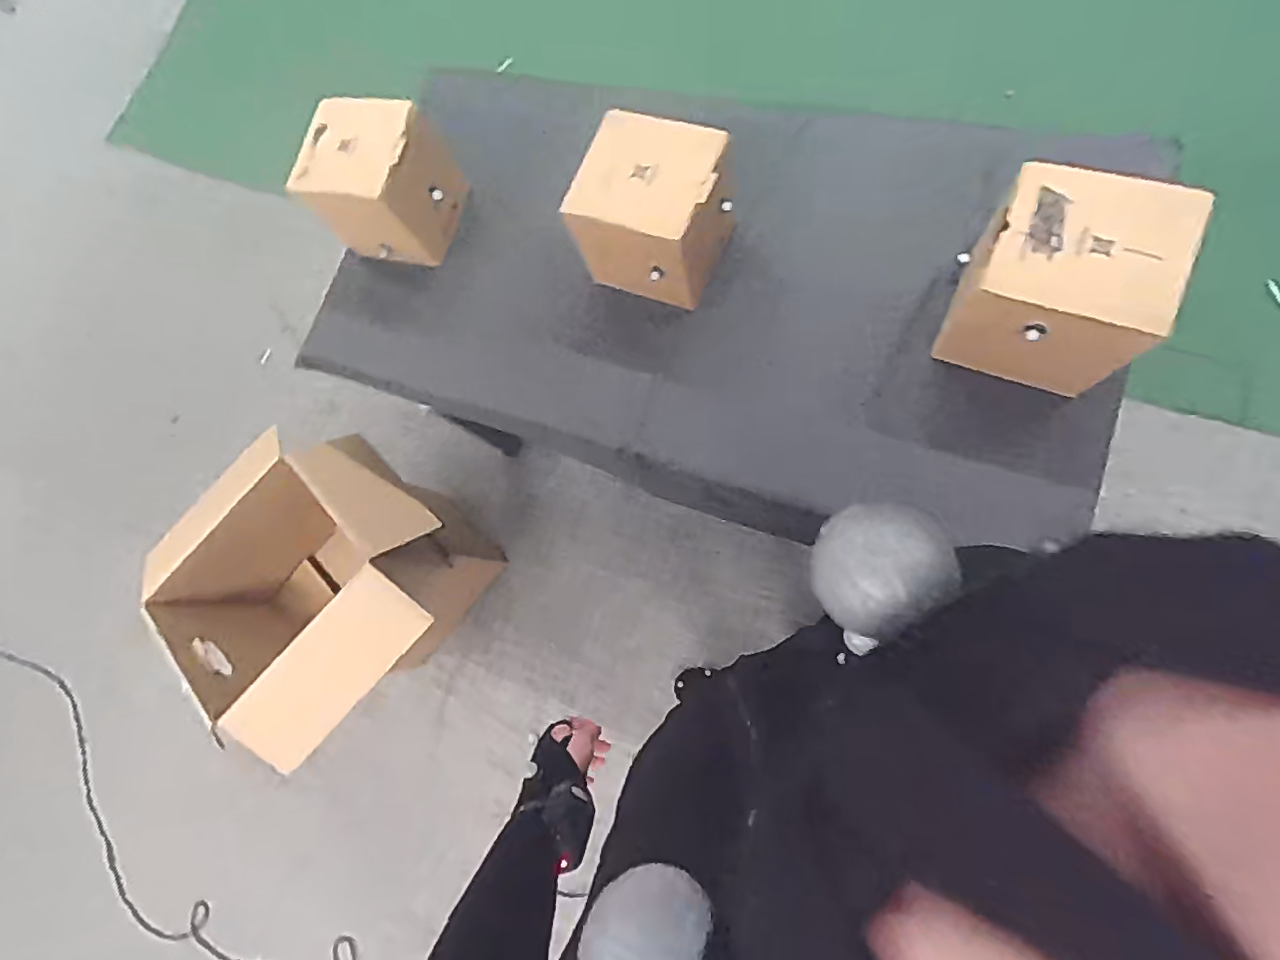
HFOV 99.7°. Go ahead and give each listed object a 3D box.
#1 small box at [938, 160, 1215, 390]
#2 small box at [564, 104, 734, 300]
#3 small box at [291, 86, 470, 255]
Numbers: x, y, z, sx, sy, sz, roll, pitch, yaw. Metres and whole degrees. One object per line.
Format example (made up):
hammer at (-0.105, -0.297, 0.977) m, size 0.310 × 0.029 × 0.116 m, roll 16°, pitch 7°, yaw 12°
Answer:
small box at (0.482, -0.226, 0.630) m, size 0.179 × 0.176 × 0.168 m, roll 23°, pitch 84°, yaw 15°
small box at (0.026, -0.382, 0.767) m, size 0.179 × 0.176 × 0.168 m, roll 22°, pitch 82°, yaw 17°
small box at (-0.408, -0.494, 0.882) m, size 0.179 × 0.176 × 0.168 m, roll 14°, pitch 81°, yaw 13°
